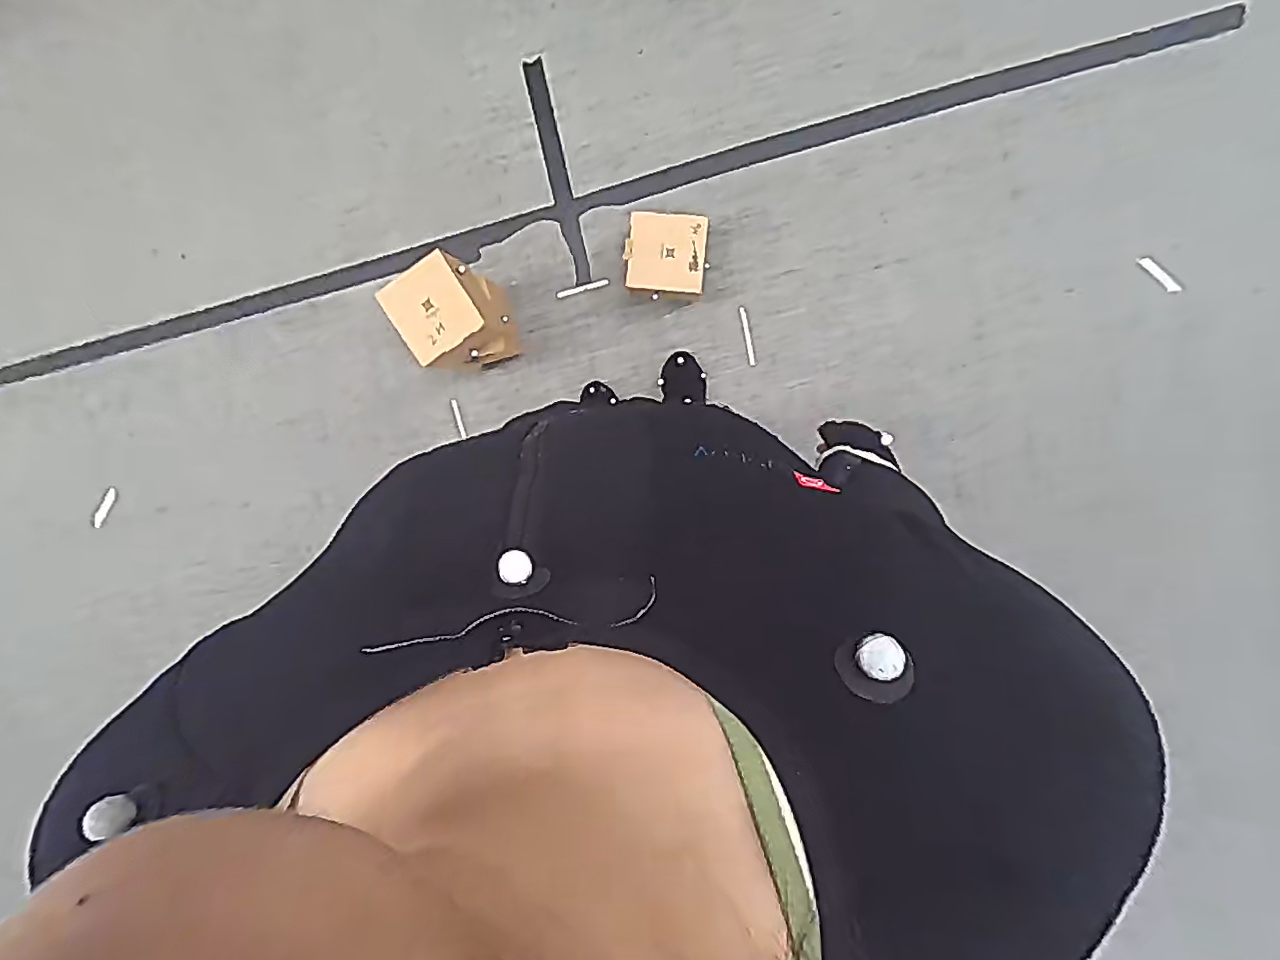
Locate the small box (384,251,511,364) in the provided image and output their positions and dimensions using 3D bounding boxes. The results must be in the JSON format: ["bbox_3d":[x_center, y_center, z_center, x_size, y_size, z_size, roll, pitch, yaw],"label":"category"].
[{"bbox_3d":[-0.412,-0.368,1.186,0.168,0.176,0.179,-27,101,9],"label":"small box"}]

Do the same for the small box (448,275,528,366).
[{"bbox_3d":[-0.396,-0.391,1.349,0.168,0.176,0.179,-14,100,6],"label":"small box"}]

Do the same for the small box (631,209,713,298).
[{"bbox_3d":[0.074,-0.536,1.297,0.179,0.176,0.168,3,101,1],"label":"small box"}]
